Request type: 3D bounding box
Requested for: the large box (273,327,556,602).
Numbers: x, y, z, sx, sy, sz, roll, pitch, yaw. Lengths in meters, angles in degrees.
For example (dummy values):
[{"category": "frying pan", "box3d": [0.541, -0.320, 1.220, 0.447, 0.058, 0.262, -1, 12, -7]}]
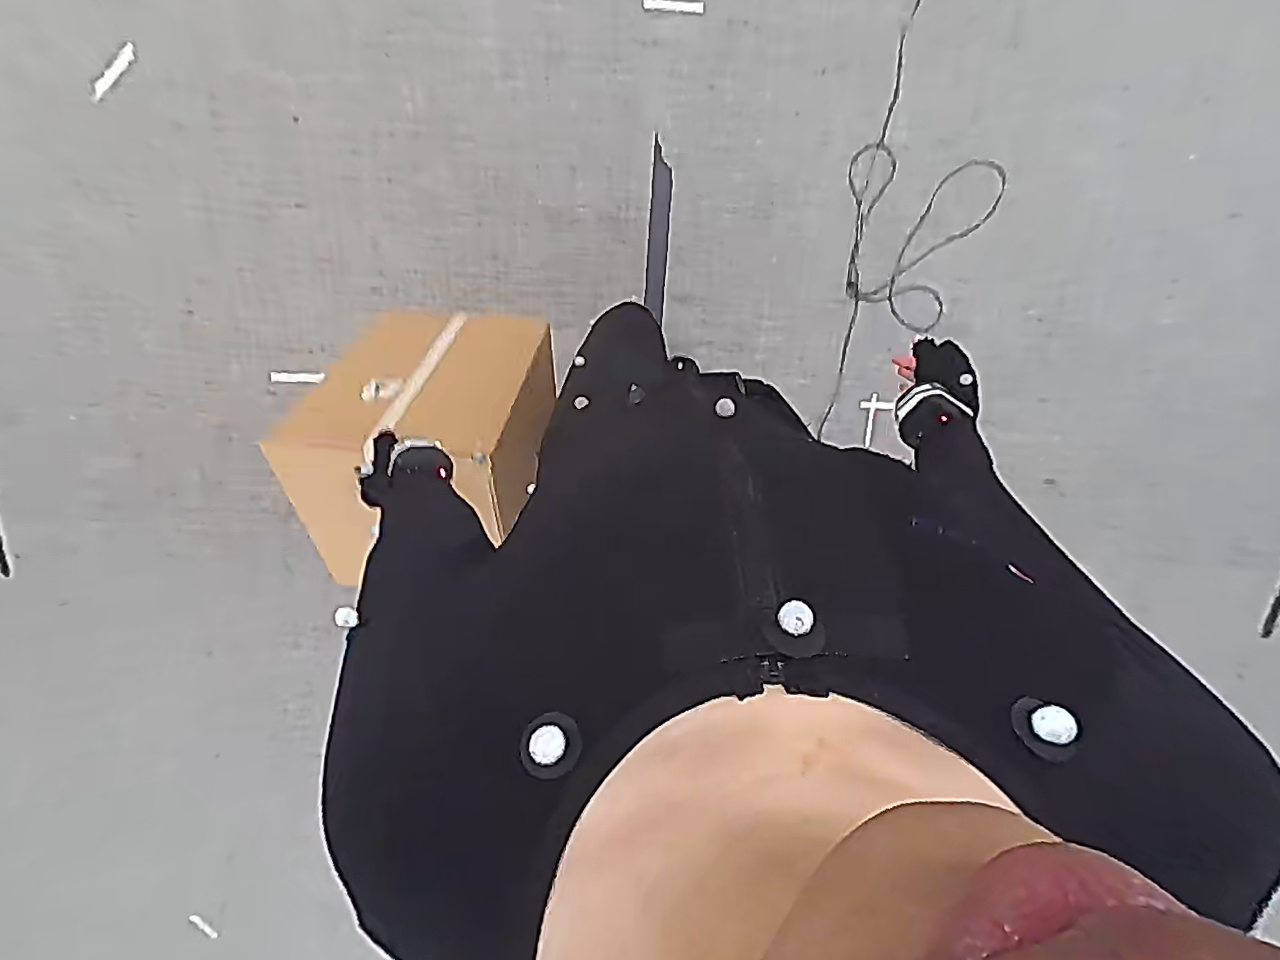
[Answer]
[{"category": "large box", "box3d": [-0.342, -0.041, 0.972, 0.320, 0.408, 0.320, 2, 131, 3]}]
